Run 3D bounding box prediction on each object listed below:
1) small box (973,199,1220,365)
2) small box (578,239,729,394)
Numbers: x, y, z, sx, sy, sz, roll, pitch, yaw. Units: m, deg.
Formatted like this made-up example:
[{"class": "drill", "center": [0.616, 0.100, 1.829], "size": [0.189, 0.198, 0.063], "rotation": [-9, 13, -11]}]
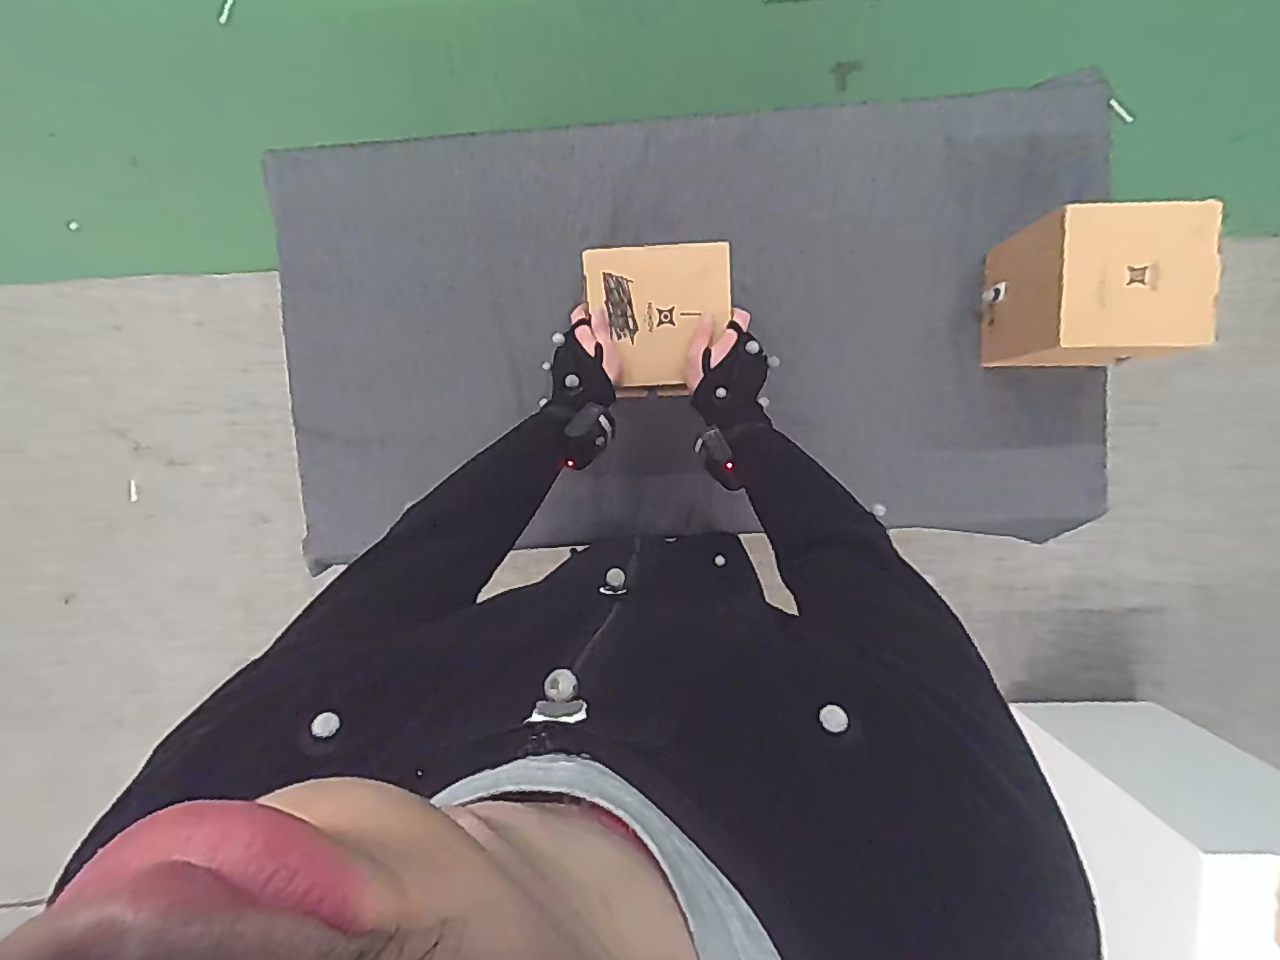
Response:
[{"class": "small box", "center": [0.570, -0.243, 0.697], "size": [0.179, 0.176, 0.168], "rotation": [0, 94, 3]}, {"class": "small box", "center": [0.019, -0.204, 0.718], "size": [0.179, 0.176, 0.168], "rotation": [-2, 96, 1]}]
